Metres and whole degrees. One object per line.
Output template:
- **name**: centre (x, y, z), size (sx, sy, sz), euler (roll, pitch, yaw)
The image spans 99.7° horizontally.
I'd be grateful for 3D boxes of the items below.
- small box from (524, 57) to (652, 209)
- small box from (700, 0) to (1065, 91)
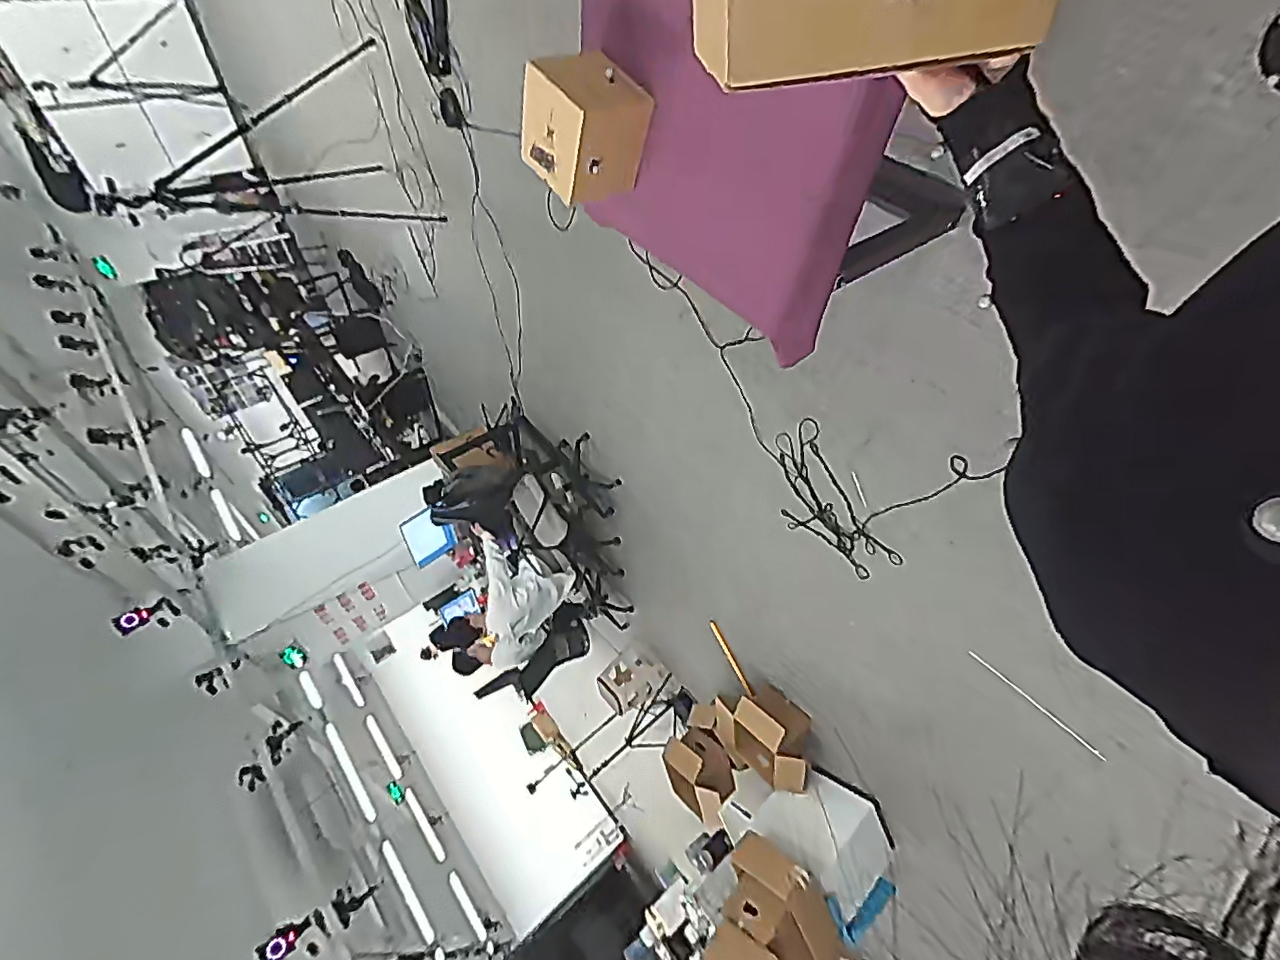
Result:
- **small box**: centre (-0.100, -0.654, 1.018), size (0.168, 0.176, 0.179), euler (48, 150, 14)
- **small box**: centre (0.126, -0.337, 0.288), size (0.168, 0.179, 0.176), euler (-93, -4, -45)
